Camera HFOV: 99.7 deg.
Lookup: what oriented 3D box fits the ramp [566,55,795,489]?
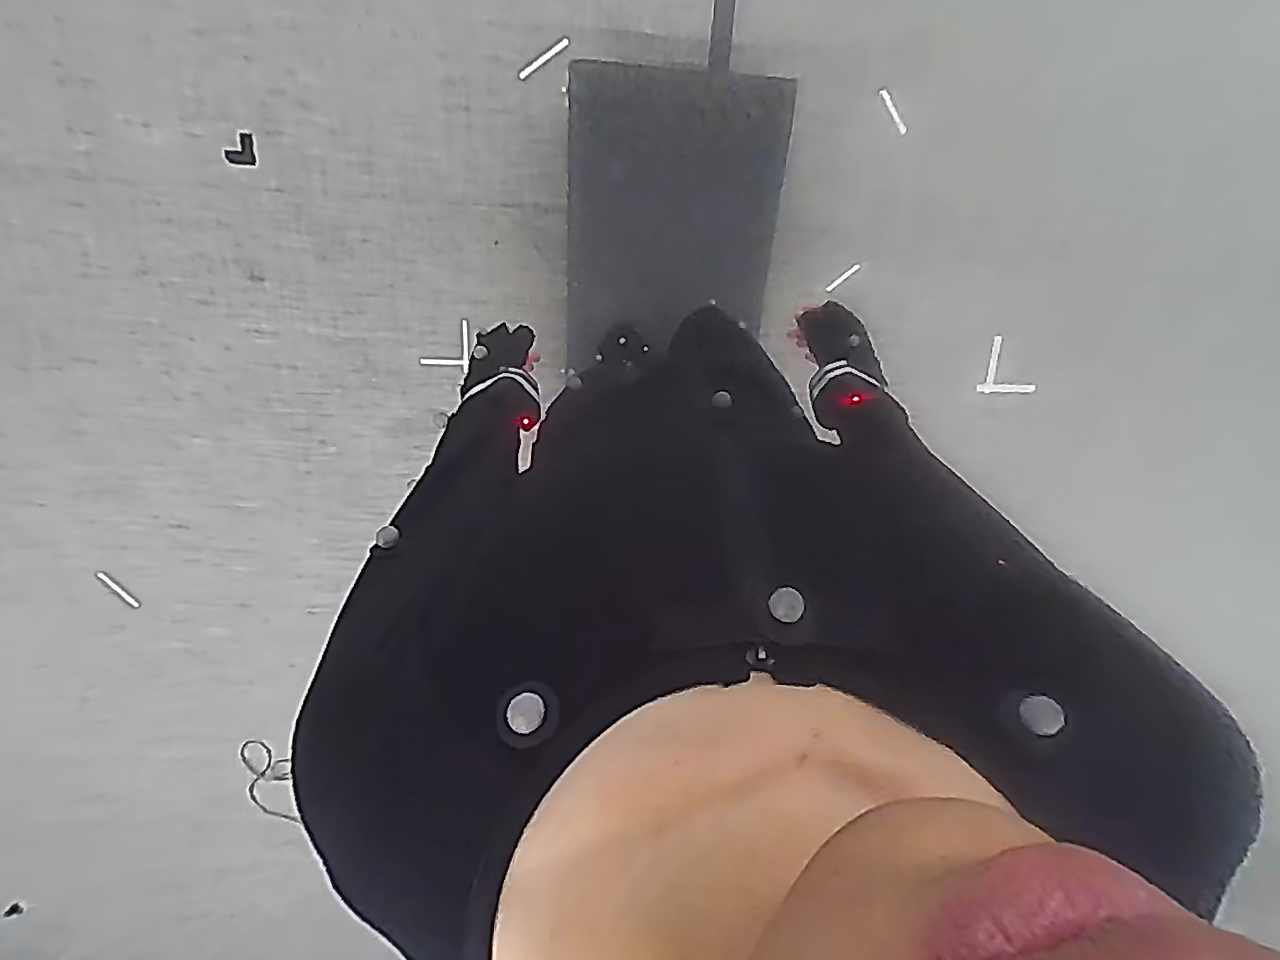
[{"bbox_3d":[0.062,-0.427,1.351,0.509,0.206,0.991,0,106,-4],"label":"ramp"}]
